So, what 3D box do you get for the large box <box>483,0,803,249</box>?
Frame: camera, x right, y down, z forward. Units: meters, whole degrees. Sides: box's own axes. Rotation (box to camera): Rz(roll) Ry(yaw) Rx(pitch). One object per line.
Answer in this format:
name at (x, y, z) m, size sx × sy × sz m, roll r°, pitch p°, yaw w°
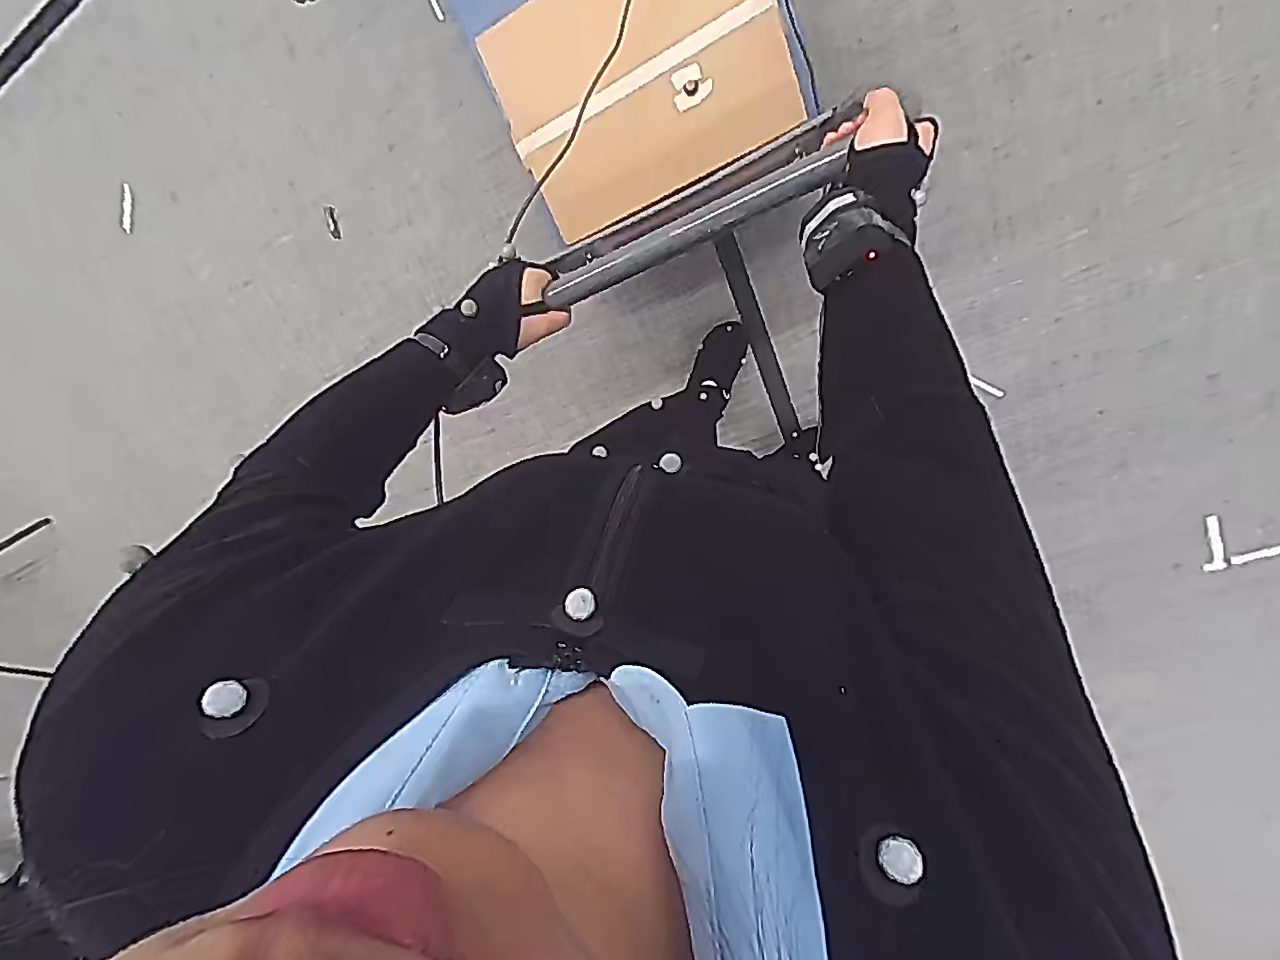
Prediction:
large box at (0.022, -0.638, 0.931) m, size 0.408 × 0.320 × 0.320 m, roll -20°, pitch 108°, yaw 17°
